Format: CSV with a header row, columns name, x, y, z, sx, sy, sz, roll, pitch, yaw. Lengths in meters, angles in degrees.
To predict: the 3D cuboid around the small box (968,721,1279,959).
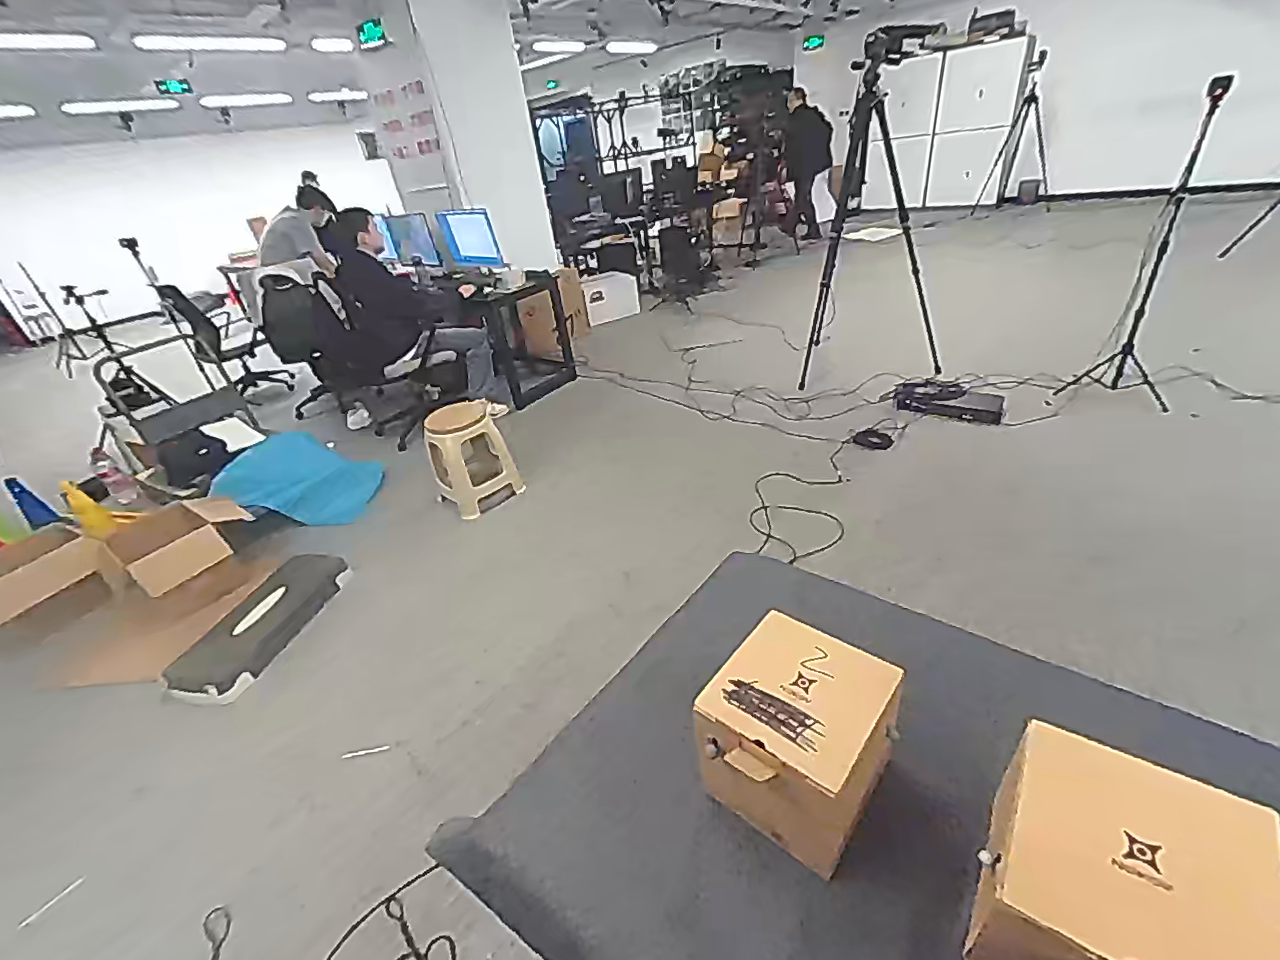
name,x,y,z,sx,sy,sz,roll,pitch,yaw
small box,0.404,0.360,0.469,0.168,0.176,0.179,16,44,34
